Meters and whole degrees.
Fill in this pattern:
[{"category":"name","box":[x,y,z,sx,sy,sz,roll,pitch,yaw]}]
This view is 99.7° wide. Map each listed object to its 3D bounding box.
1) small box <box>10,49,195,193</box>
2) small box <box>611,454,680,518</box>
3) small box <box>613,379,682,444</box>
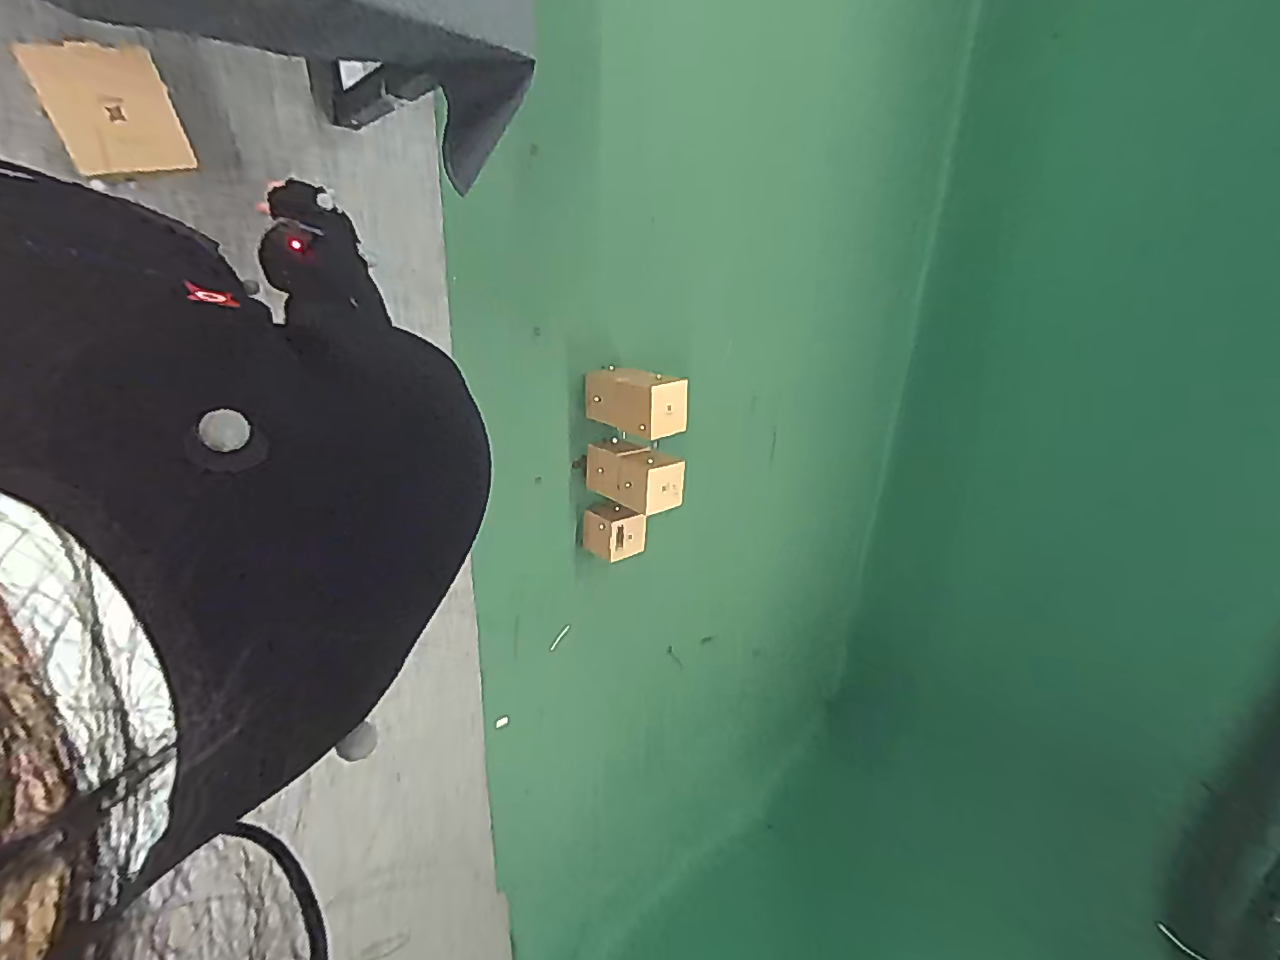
[{"category":"small box","box":[-0.918,-0.610,0.934,0.168,0.176,0.179,-29,124,-34]},{"category":"small box","box":[0.014,0.015,1.881,0.179,0.176,0.168,-15,117,-41]},{"category":"small box","box":[0.022,-0.235,1.789,0.168,0.176,0.179,-19,119,-39]}]
